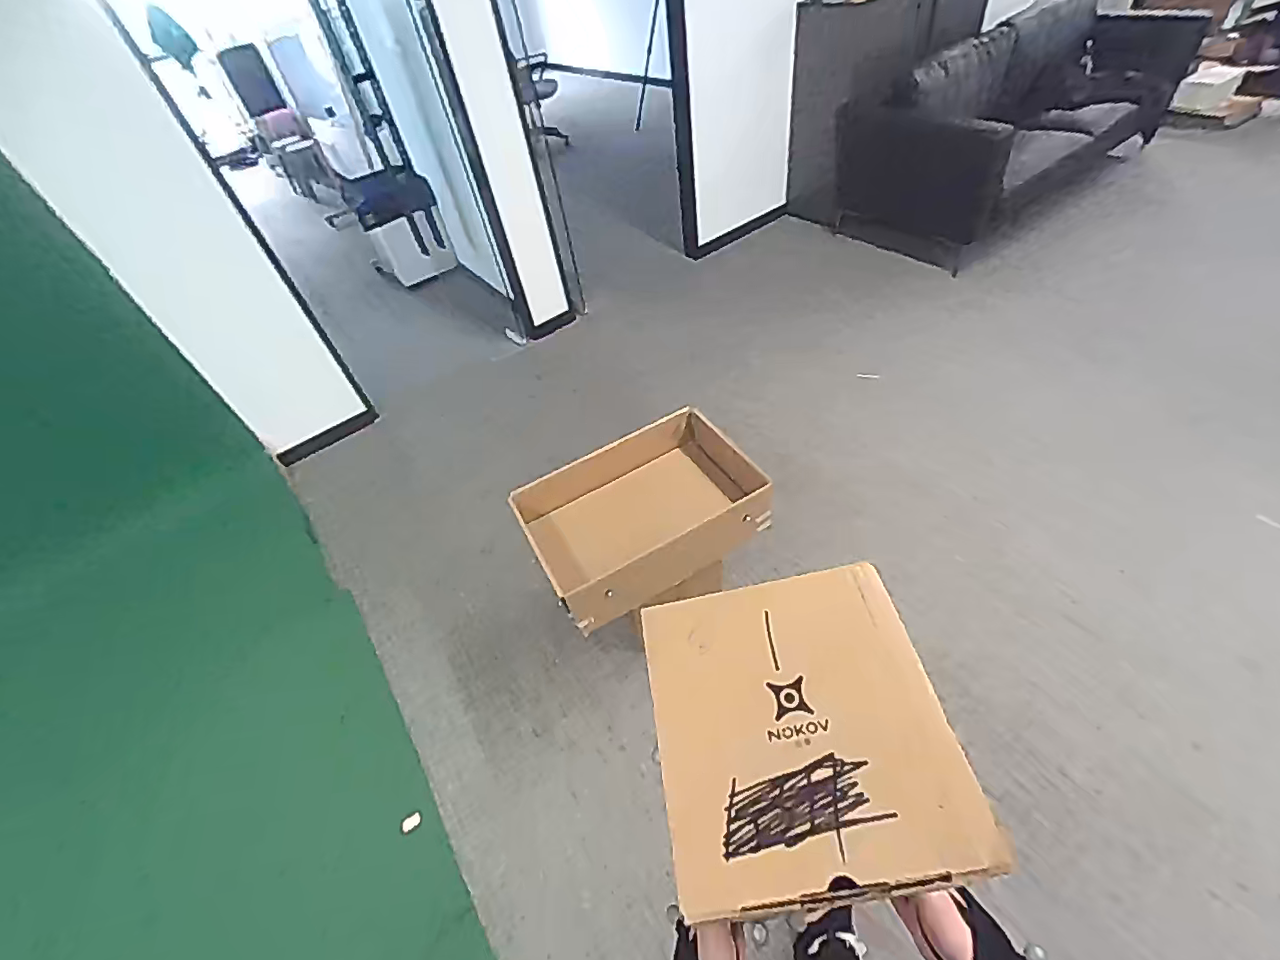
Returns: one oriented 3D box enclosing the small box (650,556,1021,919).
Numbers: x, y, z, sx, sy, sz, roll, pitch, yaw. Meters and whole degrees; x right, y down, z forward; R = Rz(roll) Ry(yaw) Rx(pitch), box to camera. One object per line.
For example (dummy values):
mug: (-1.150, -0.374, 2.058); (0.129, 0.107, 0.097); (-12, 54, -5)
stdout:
small box: (0.111, 0.182, 0.375); (0.168, 0.176, 0.179); (-12, 48, 4)
